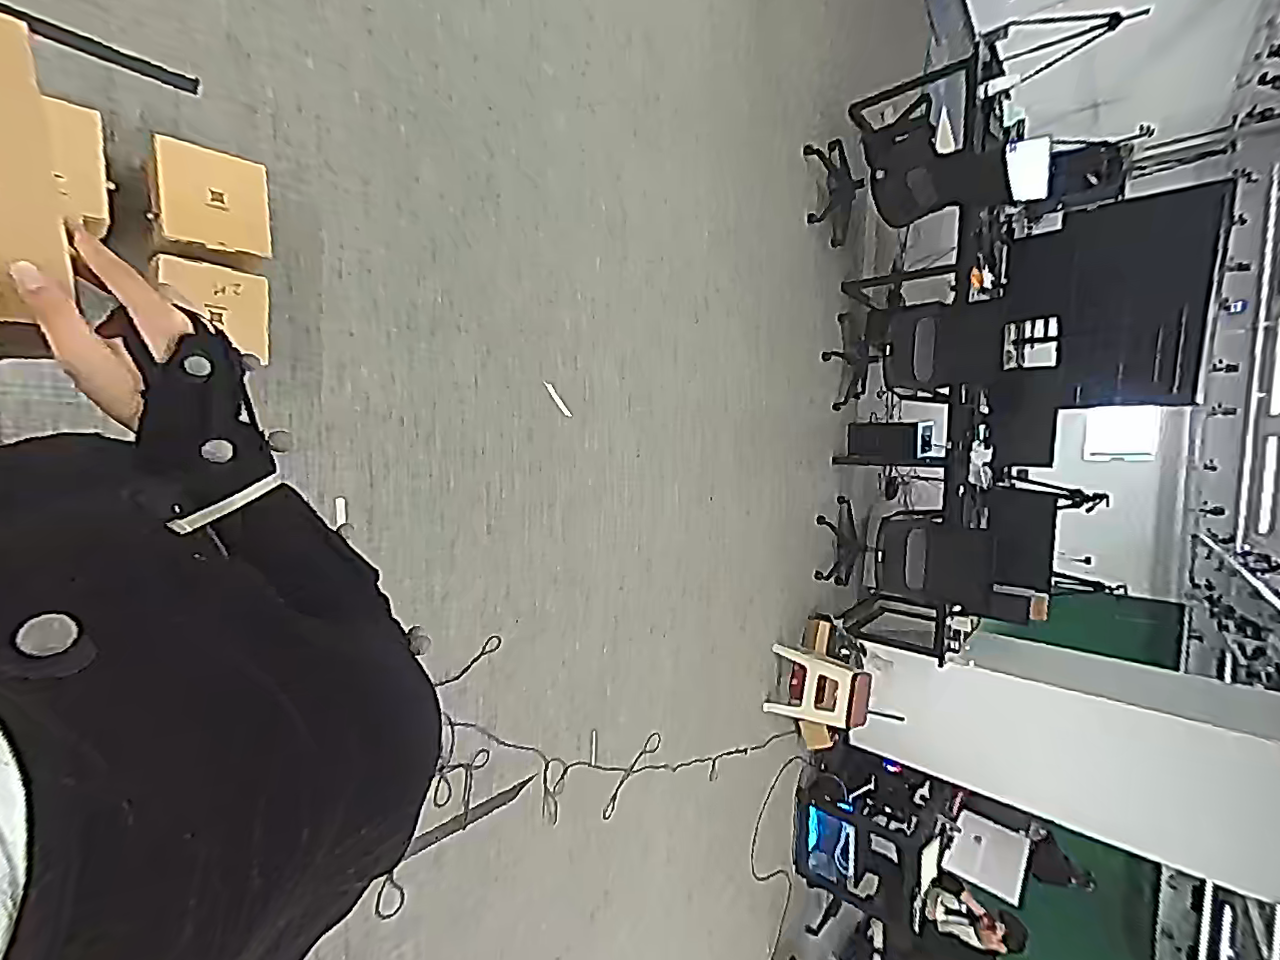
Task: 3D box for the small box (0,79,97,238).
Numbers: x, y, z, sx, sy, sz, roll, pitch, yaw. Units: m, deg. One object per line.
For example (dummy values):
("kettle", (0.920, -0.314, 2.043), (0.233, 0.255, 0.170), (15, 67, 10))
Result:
("small box", (-0.999, -0.513, 0.869), (0.168, 0.176, 0.179), (-5, 96, -49))
